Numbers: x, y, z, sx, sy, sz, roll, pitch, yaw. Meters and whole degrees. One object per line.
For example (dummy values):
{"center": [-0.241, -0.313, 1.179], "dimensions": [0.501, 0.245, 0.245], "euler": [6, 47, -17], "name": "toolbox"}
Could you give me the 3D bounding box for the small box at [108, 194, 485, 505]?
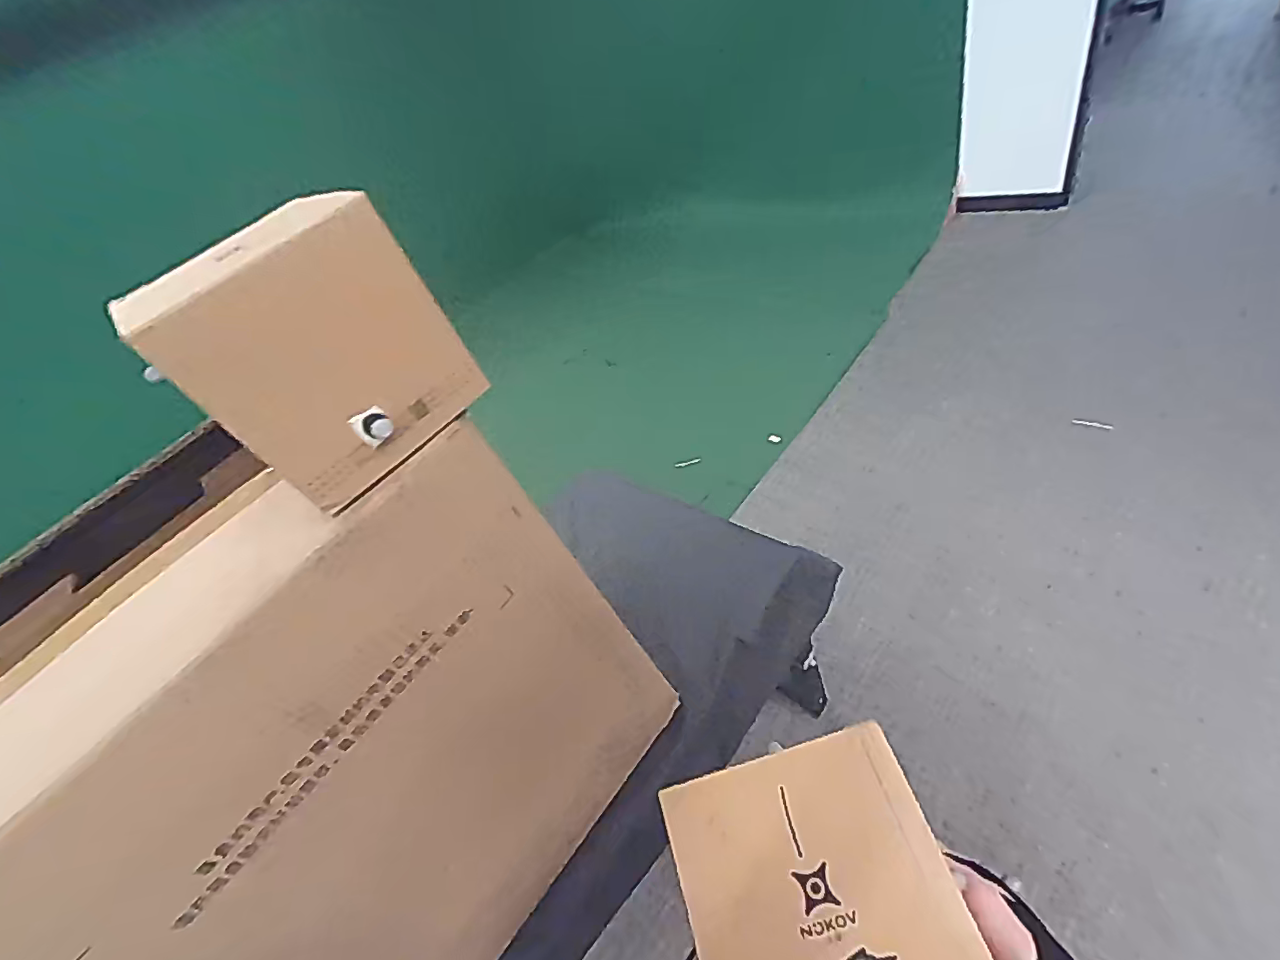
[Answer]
{"center": [-0.265, -0.106, 0.438], "dimensions": [0.179, 0.176, 0.168], "euler": [23, 62, 39], "name": "small box"}
